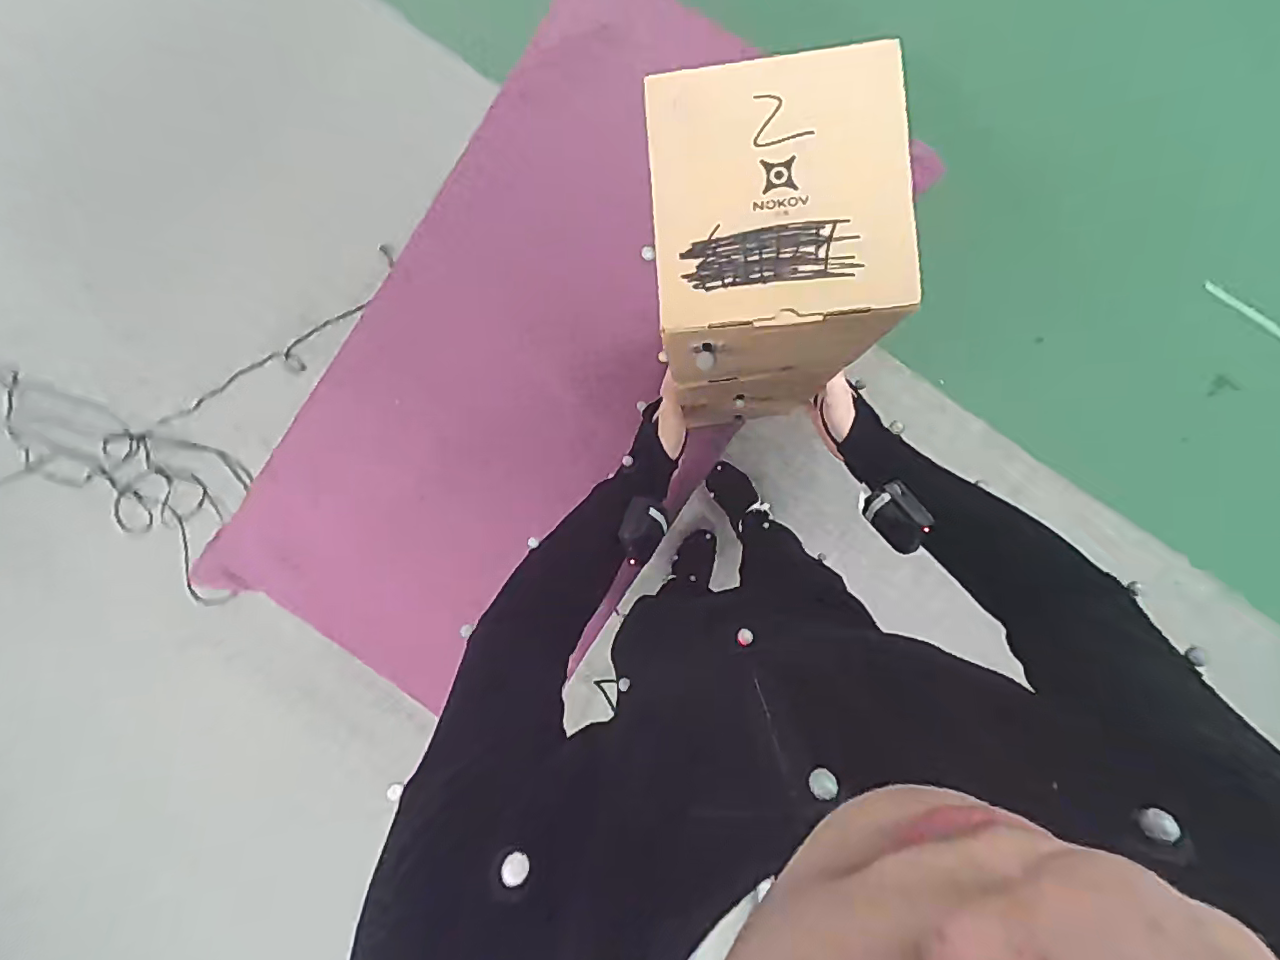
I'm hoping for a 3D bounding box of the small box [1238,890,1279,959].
[{"bbox_3d":[1.776,1.244,1.423,0.179,0.176,0.168,39,94,1],"label":"small box"}]

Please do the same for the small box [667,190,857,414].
[{"bbox_3d":[0.119,-0.177,0.589,0.168,0.176,0.179,-6,89,6],"label":"small box"}]

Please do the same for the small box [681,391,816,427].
[{"bbox_3d":[0.136,-0.176,0.750,0.168,0.176,0.179,-5,89,6],"label":"small box"}]
